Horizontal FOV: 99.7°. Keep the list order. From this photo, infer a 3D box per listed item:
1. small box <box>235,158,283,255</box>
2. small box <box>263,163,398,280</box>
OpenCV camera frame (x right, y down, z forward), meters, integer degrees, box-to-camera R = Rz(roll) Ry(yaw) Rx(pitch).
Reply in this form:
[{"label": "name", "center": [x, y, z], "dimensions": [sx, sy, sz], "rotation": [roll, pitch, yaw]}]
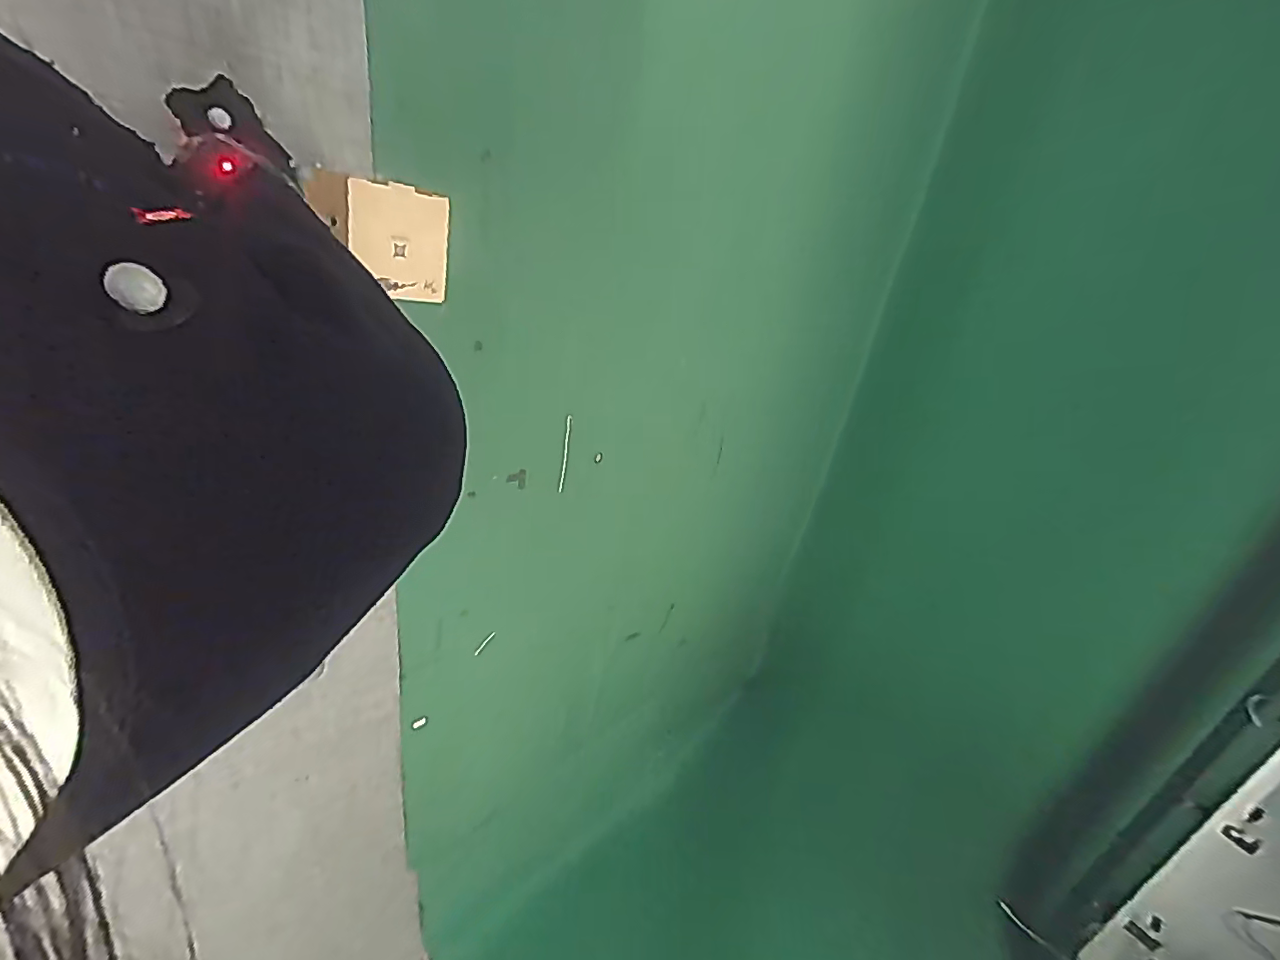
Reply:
[{"label": "small box", "center": [-0.703, -0.553, 1.113], "dimensions": [0.179, 0.176, 0.168], "rotation": [-12, 122, -45]}, {"label": "small box", "center": [-0.583, -0.487, 1.021], "dimensions": [0.179, 0.176, 0.168], "rotation": [-12, 122, -46]}]
